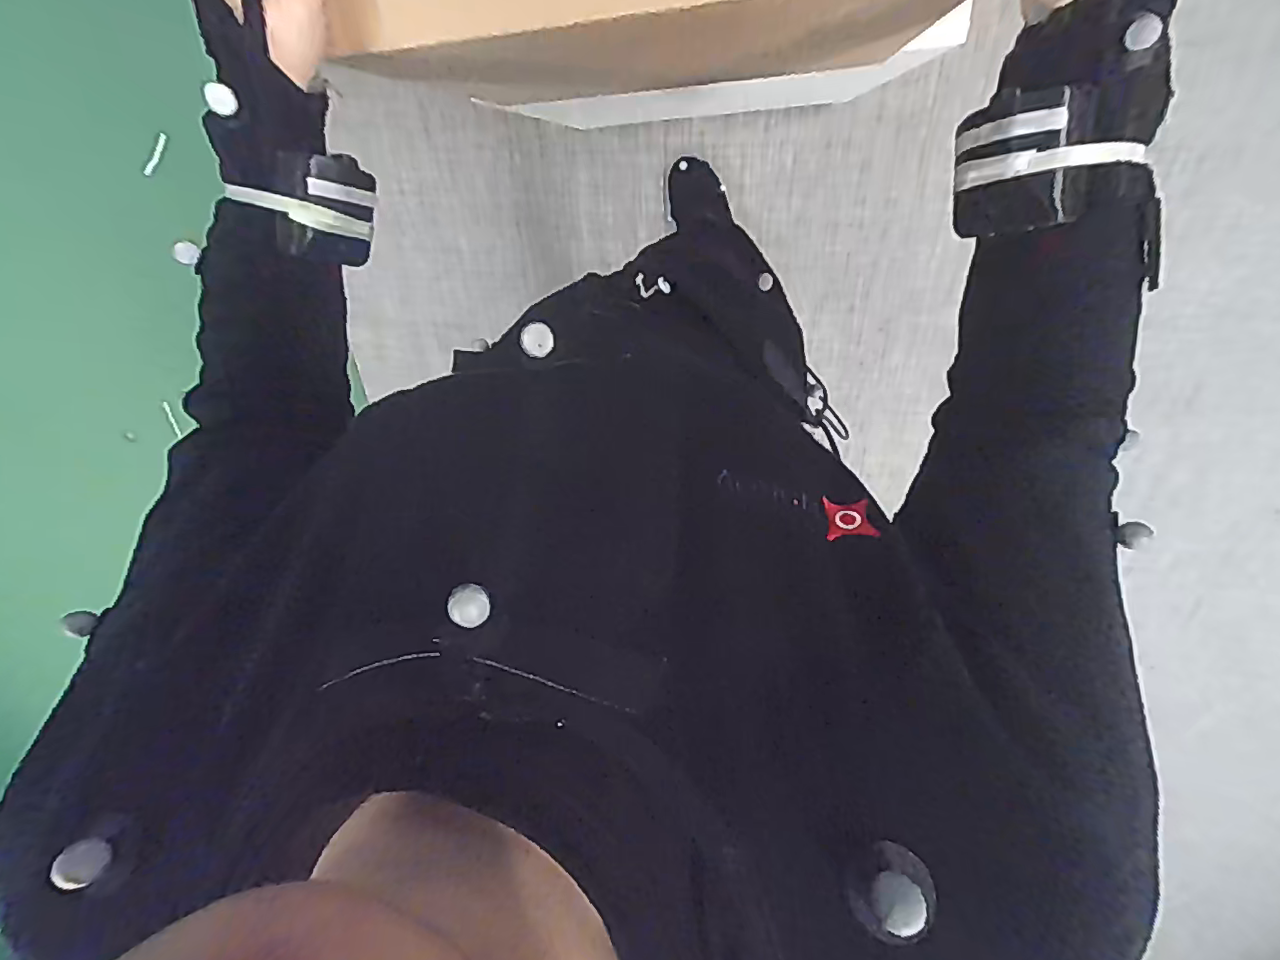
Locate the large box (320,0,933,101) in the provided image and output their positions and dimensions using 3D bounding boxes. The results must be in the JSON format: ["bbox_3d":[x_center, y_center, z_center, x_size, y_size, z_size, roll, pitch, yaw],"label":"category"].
[{"bbox_3d":[0.008,-0.477,0.358,0.408,0.320,0.320,-1,121,9],"label":"large box"}]
